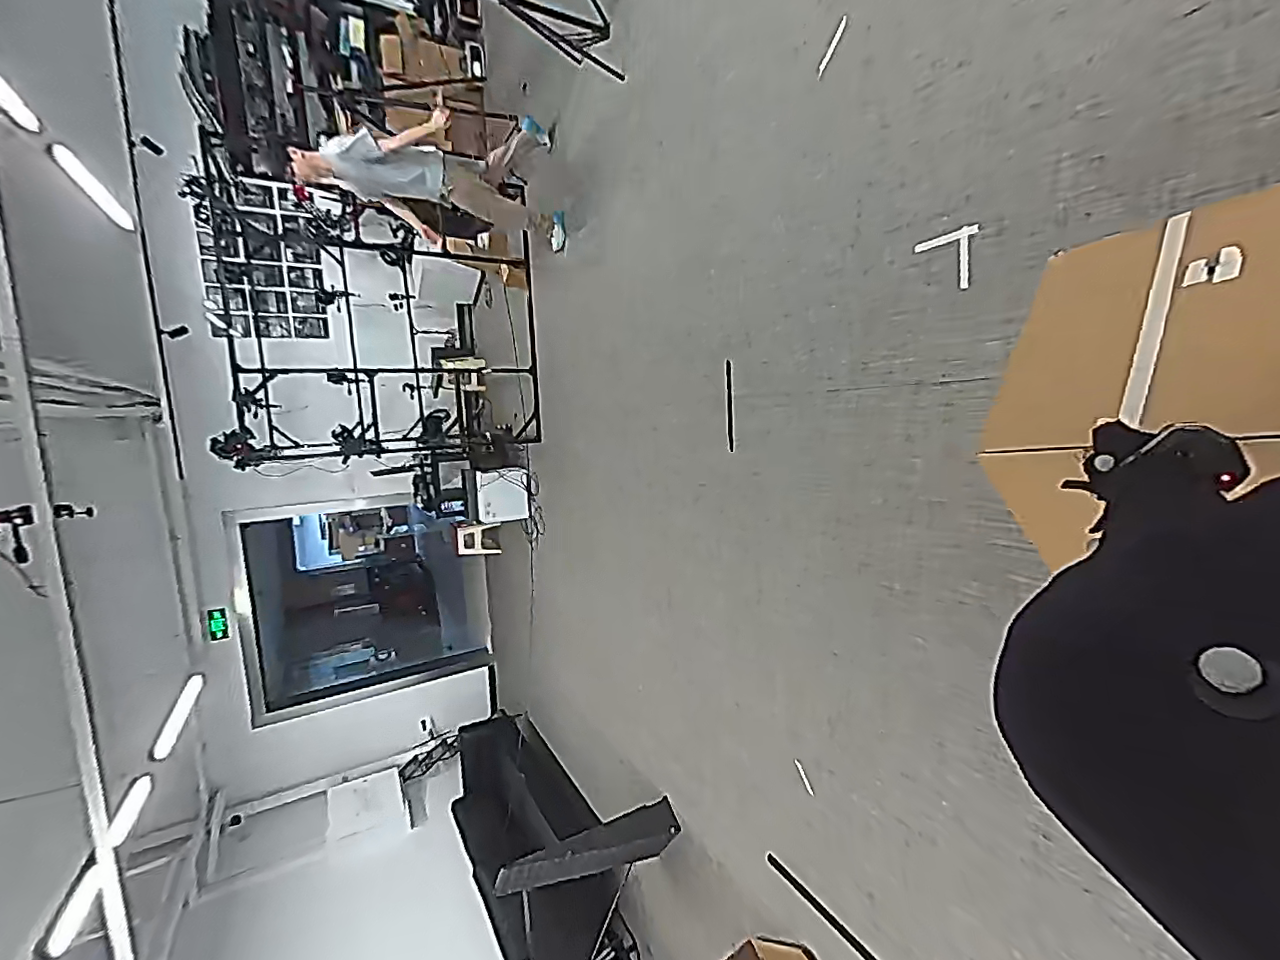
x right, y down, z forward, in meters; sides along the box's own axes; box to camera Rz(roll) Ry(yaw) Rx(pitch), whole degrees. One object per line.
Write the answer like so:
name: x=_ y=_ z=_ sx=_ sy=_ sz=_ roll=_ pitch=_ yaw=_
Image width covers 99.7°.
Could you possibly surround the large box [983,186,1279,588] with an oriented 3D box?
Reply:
large box: x=0.745 y=-0.108 z=0.733 sx=0.320 sy=0.320 sz=0.408 roll=-1 pitch=51 yaw=58
